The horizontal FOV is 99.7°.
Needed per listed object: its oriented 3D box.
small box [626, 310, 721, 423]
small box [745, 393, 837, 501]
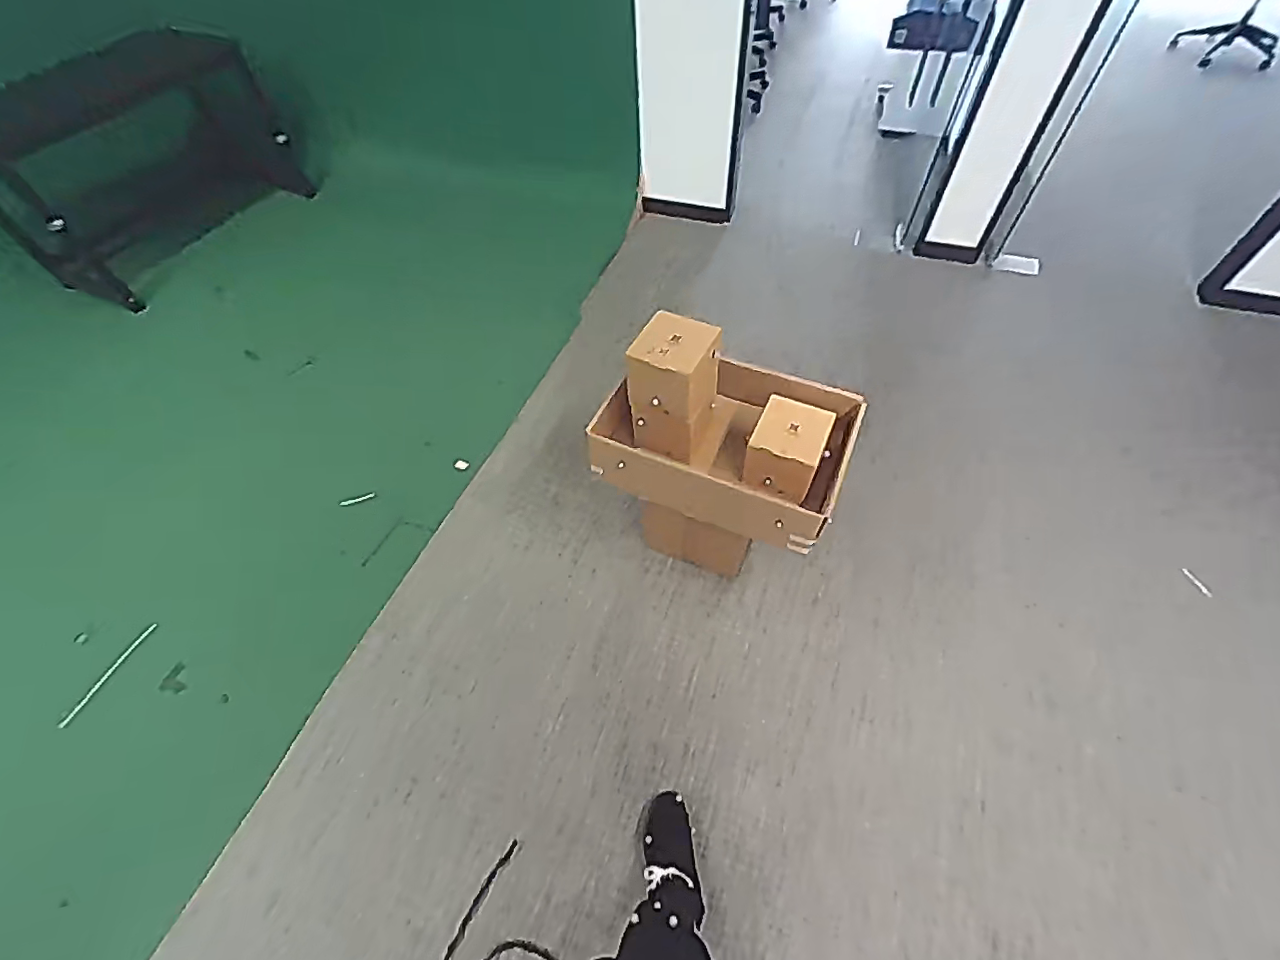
[{"bbox_3d":[0.081,-0.271,1.298,0.168,0.176,0.179,22,60,18],"label":"small box"},{"bbox_3d":[0.369,-0.081,1.350,0.168,0.176,0.179,20,60,16],"label":"small box"}]
